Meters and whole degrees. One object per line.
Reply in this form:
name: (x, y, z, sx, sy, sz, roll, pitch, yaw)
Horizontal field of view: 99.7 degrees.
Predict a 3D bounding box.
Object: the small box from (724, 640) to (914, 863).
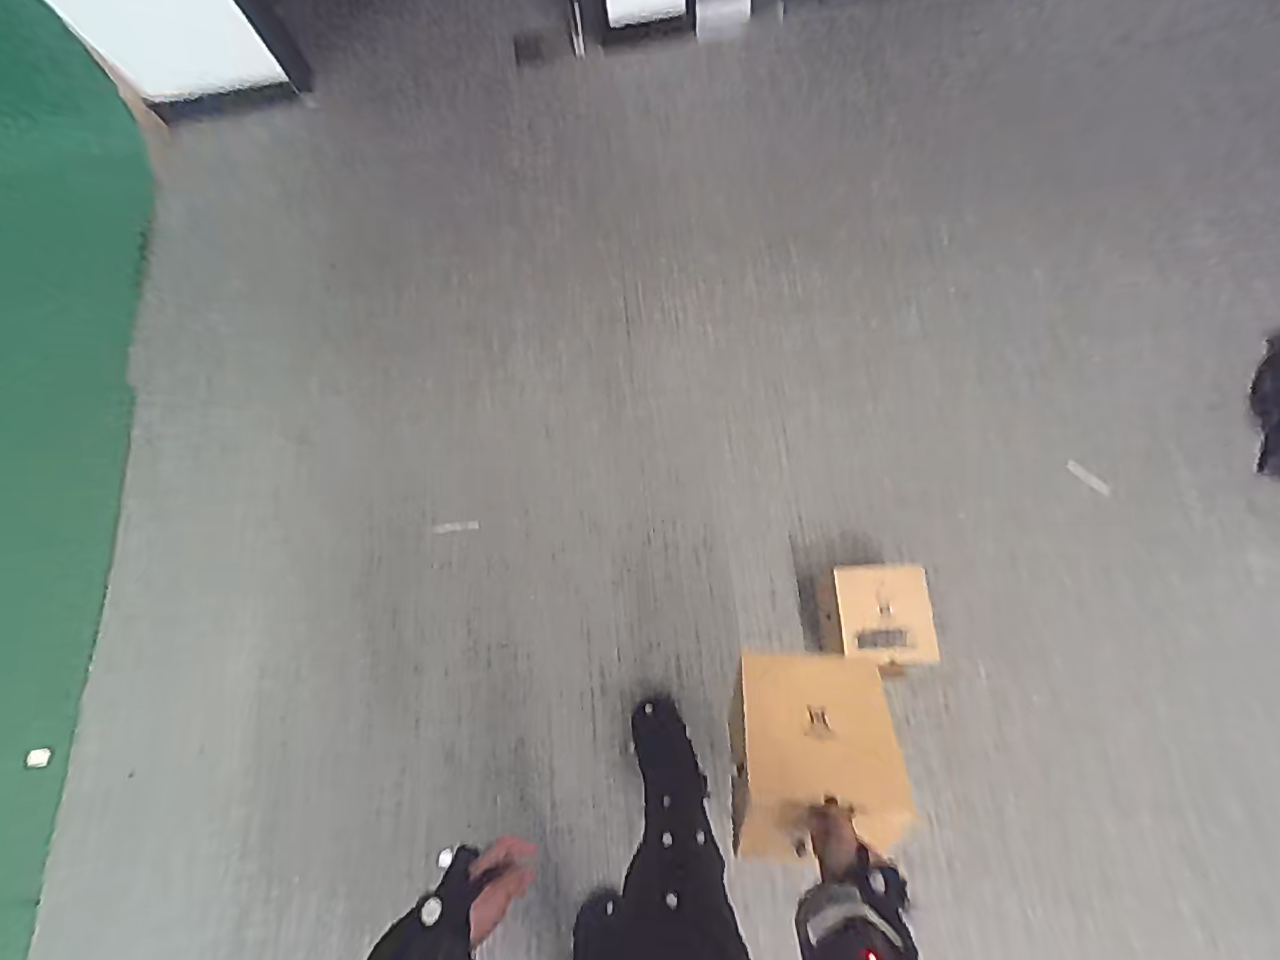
small box: (0.192, 0.318, 0.643, 0.168, 0.176, 0.179, 3, 38, 4)
